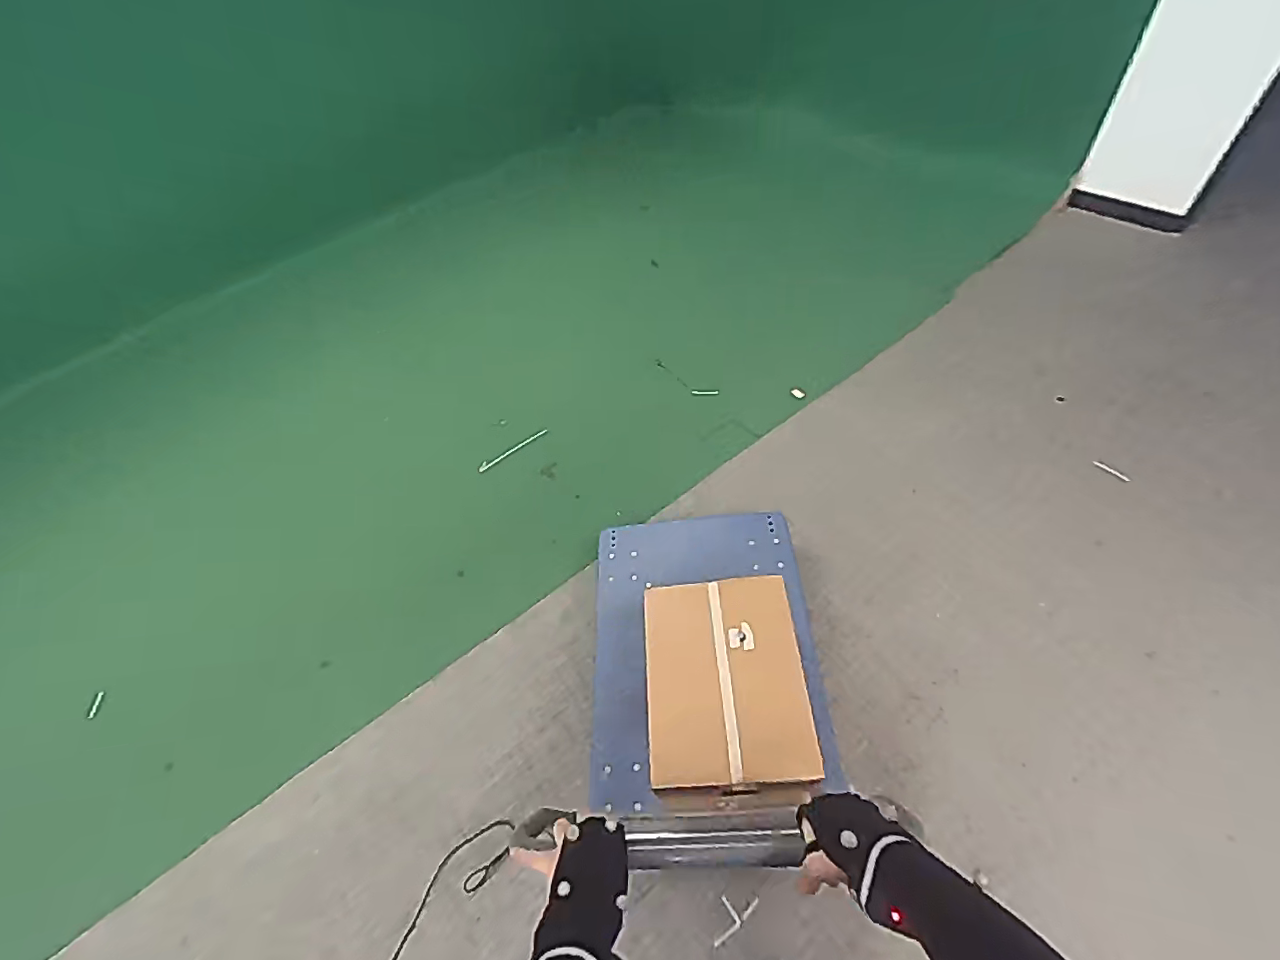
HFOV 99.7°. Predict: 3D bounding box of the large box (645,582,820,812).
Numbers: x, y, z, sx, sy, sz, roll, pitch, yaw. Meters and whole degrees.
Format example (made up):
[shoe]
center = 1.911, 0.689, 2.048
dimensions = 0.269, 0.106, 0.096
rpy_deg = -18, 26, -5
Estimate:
[large box]
center = 0.192, 0.493, 1.227
dimensions = 0.320, 0.320, 0.408
rpy_deg = -6, 51, 5
